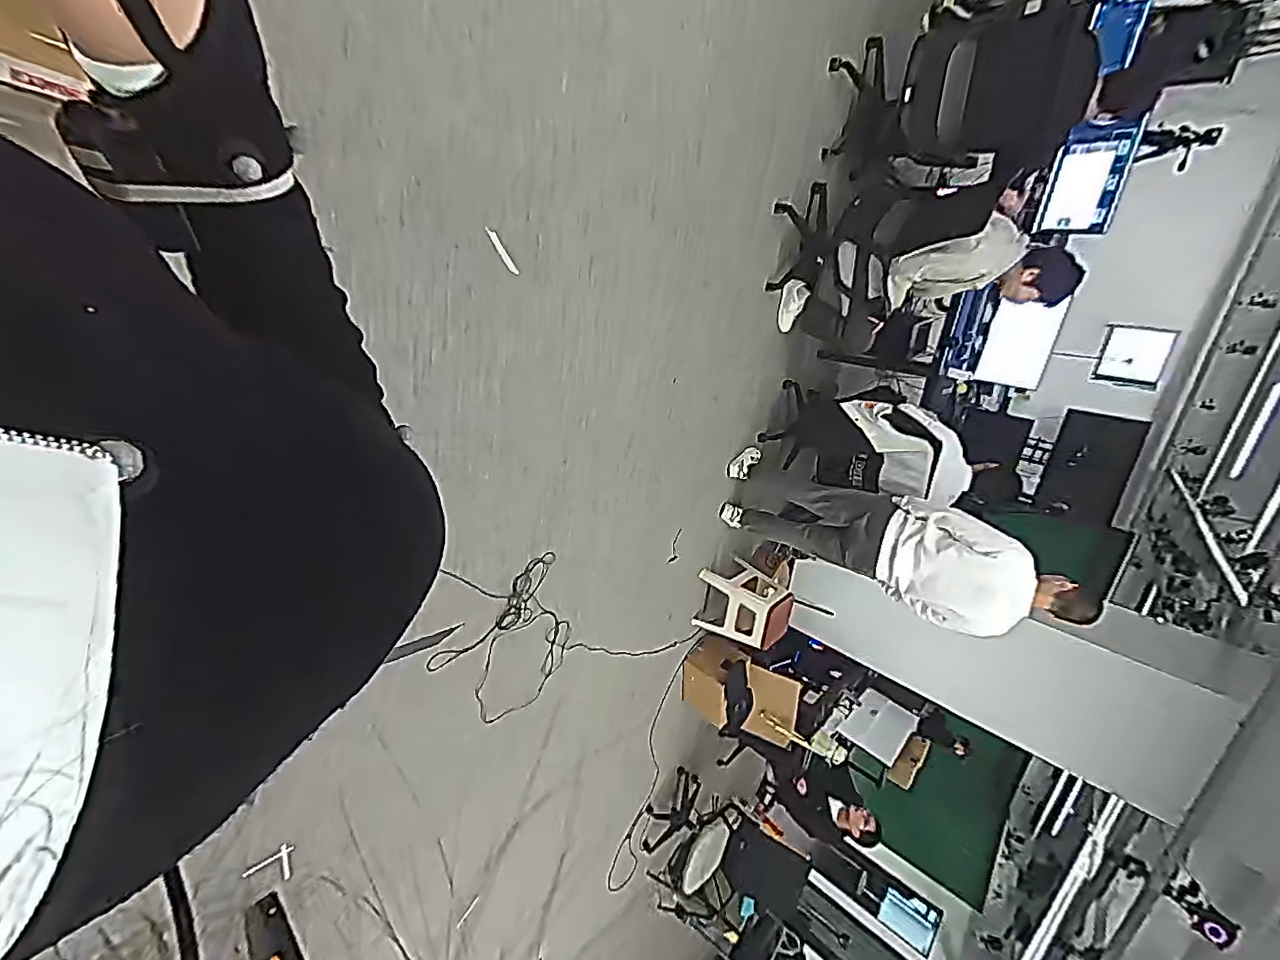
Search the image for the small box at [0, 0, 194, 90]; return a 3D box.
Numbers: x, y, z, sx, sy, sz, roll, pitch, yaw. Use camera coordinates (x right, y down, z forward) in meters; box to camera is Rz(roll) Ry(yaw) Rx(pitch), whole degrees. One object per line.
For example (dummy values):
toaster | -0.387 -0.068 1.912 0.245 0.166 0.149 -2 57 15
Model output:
small box | -0.615 -0.542 0.574 0.179 0.176 0.168 -14 119 -49
